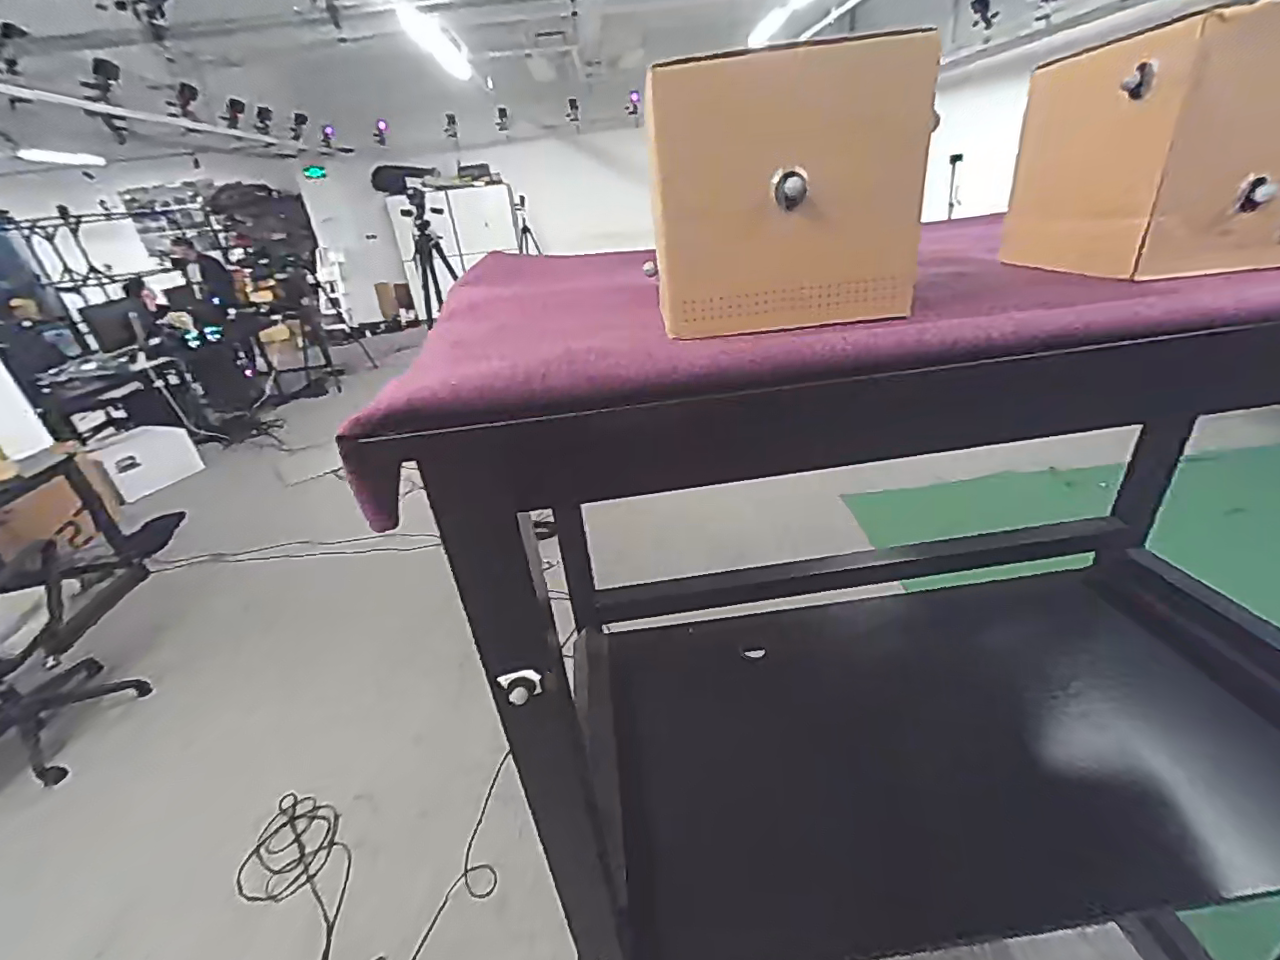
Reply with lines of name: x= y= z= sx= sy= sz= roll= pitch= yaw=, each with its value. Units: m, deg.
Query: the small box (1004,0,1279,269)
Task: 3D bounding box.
small box: x=0.436 y=-0.272 z=0.438 sx=0.168 sy=0.176 sz=0.179 roll=-6 pitch=27 yaw=2
